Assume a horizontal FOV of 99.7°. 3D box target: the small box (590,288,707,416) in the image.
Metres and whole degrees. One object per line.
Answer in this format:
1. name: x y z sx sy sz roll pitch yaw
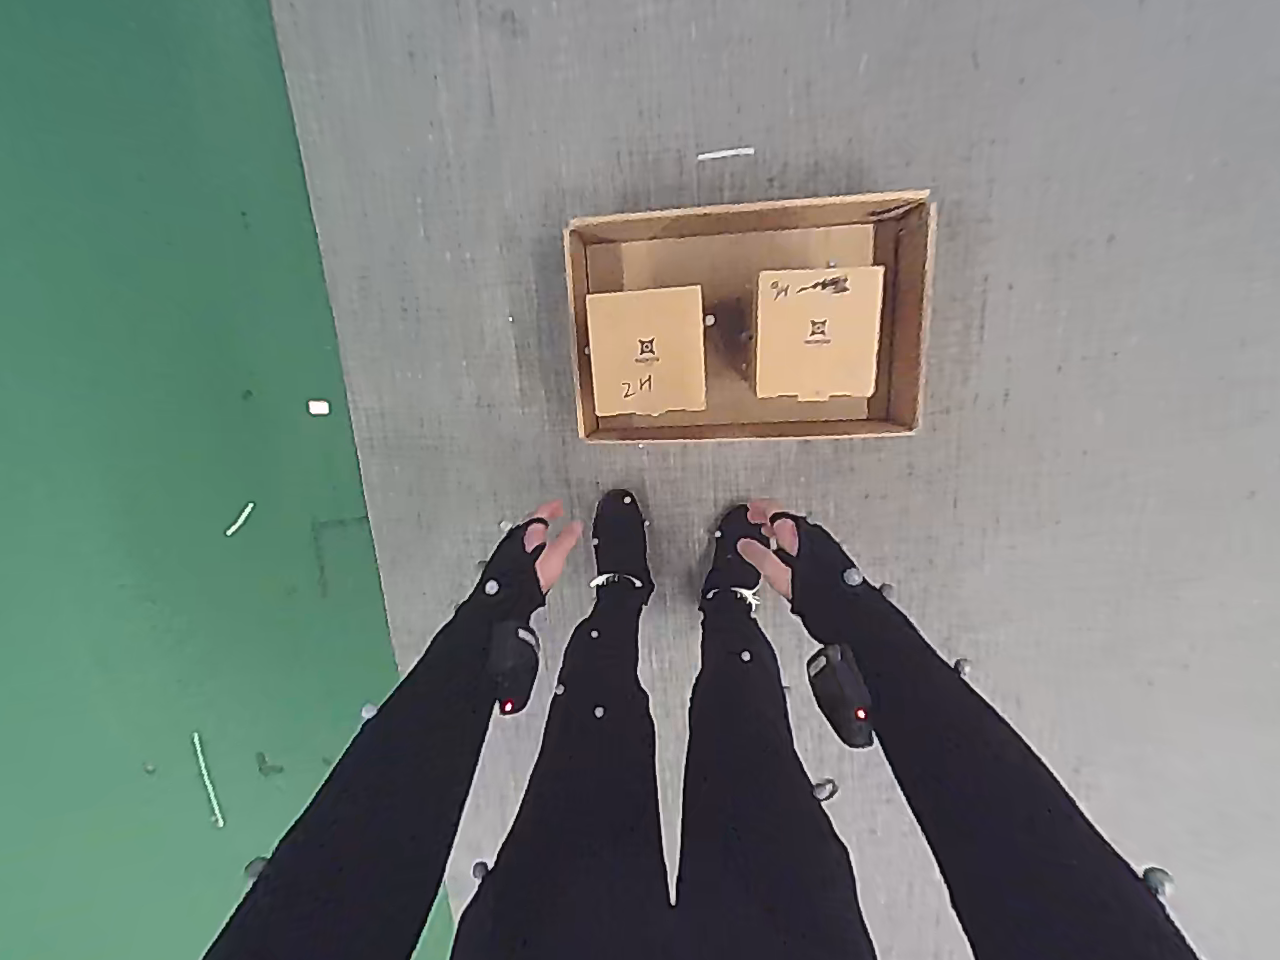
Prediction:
1. small box: 0.019 -0.197 0.856 0.168 0.176 0.179 -2 102 6
